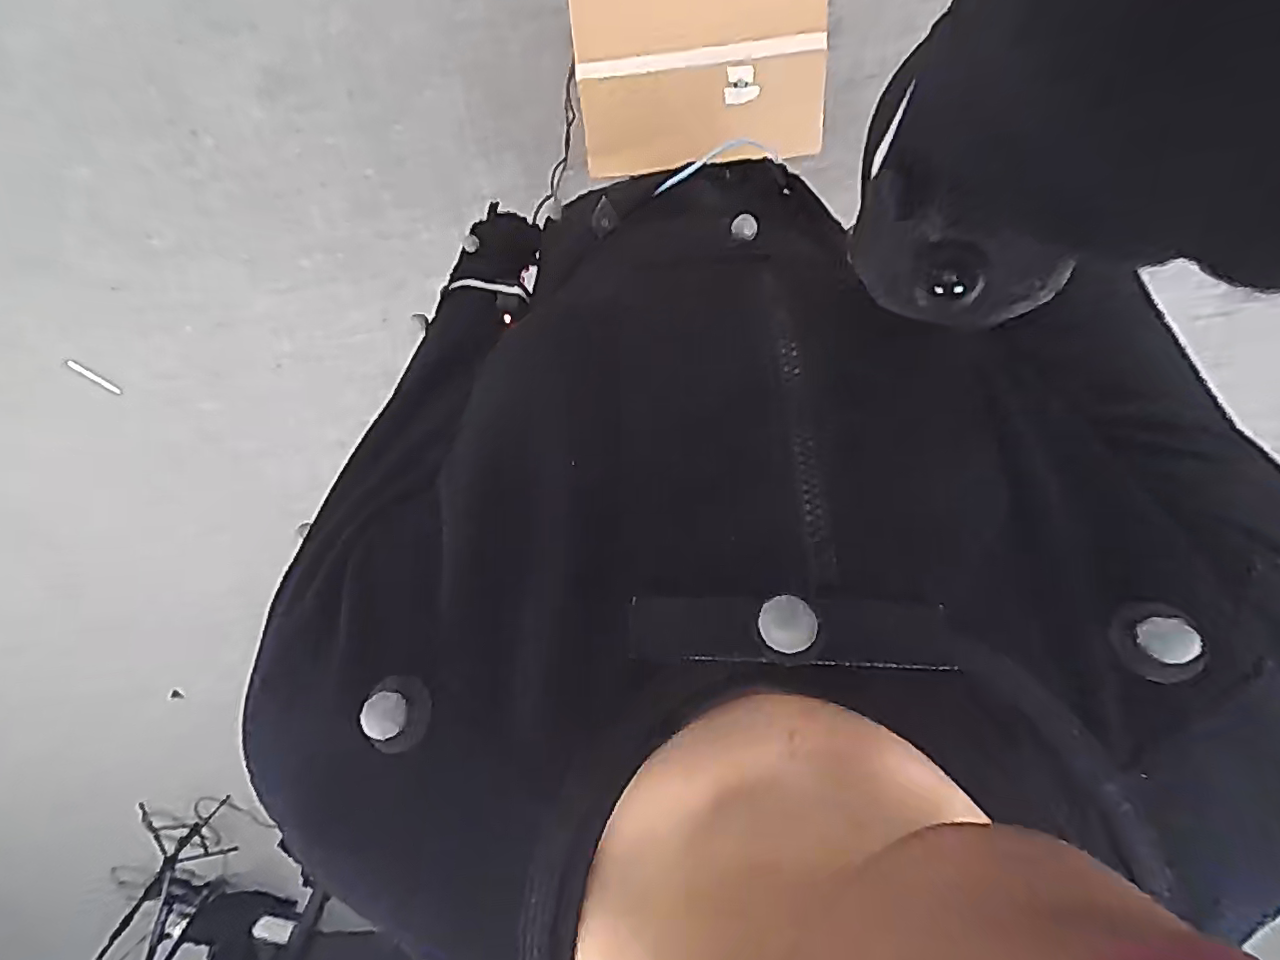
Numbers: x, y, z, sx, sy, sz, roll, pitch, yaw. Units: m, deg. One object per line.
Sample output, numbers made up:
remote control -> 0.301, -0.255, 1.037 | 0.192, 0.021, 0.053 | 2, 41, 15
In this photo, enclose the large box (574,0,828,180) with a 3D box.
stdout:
large box -> 0.106, -0.761, 1.017 | 0.408, 0.320, 0.320 | -3, 120, 4
